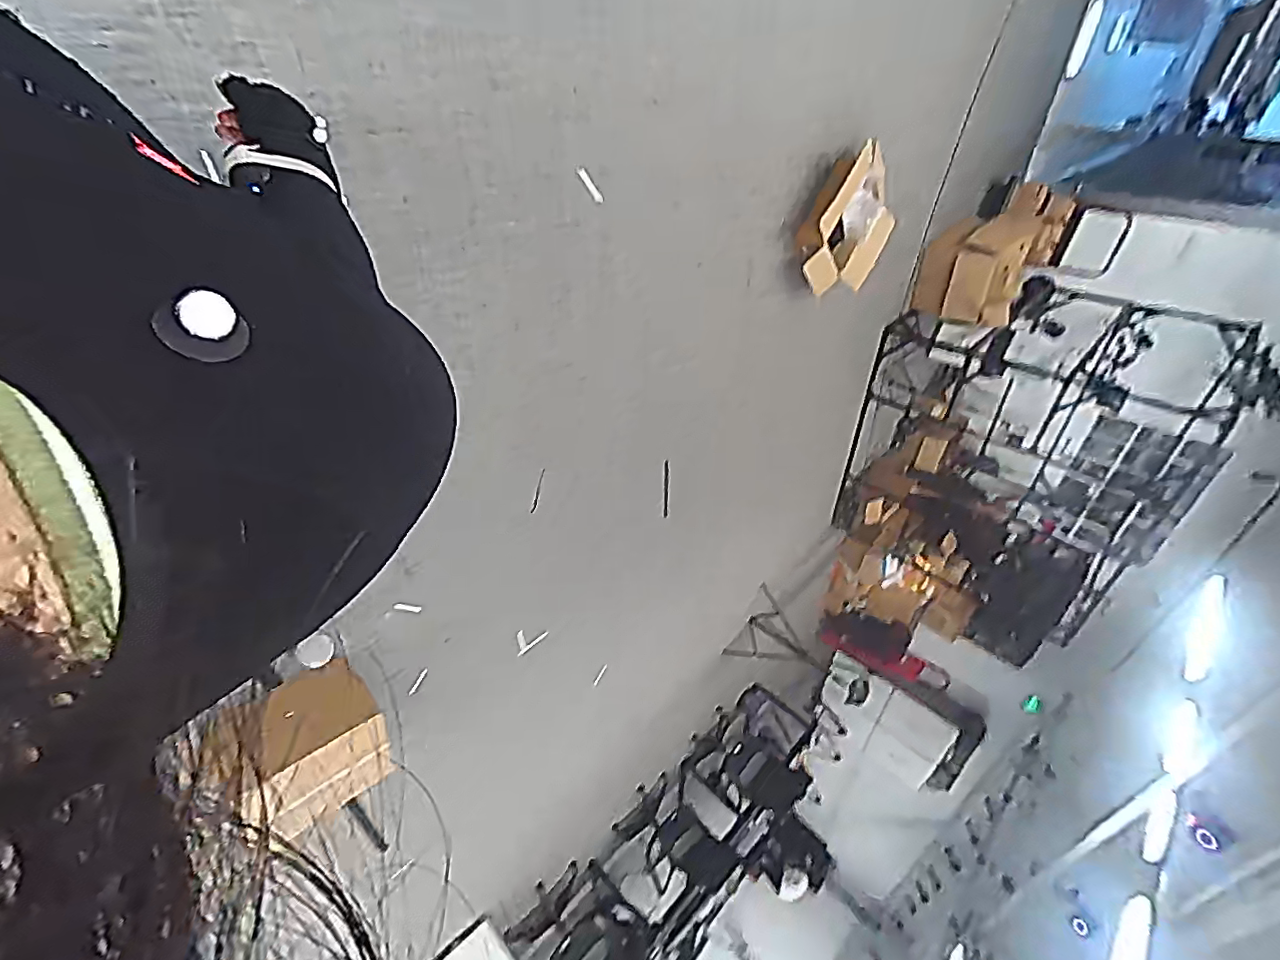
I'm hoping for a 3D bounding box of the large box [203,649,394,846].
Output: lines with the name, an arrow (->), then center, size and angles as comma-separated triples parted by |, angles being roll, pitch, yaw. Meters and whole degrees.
large box -> -1.069, 0.828, 1.724 | 0.408, 0.320, 0.320 | -26, 134, -40
